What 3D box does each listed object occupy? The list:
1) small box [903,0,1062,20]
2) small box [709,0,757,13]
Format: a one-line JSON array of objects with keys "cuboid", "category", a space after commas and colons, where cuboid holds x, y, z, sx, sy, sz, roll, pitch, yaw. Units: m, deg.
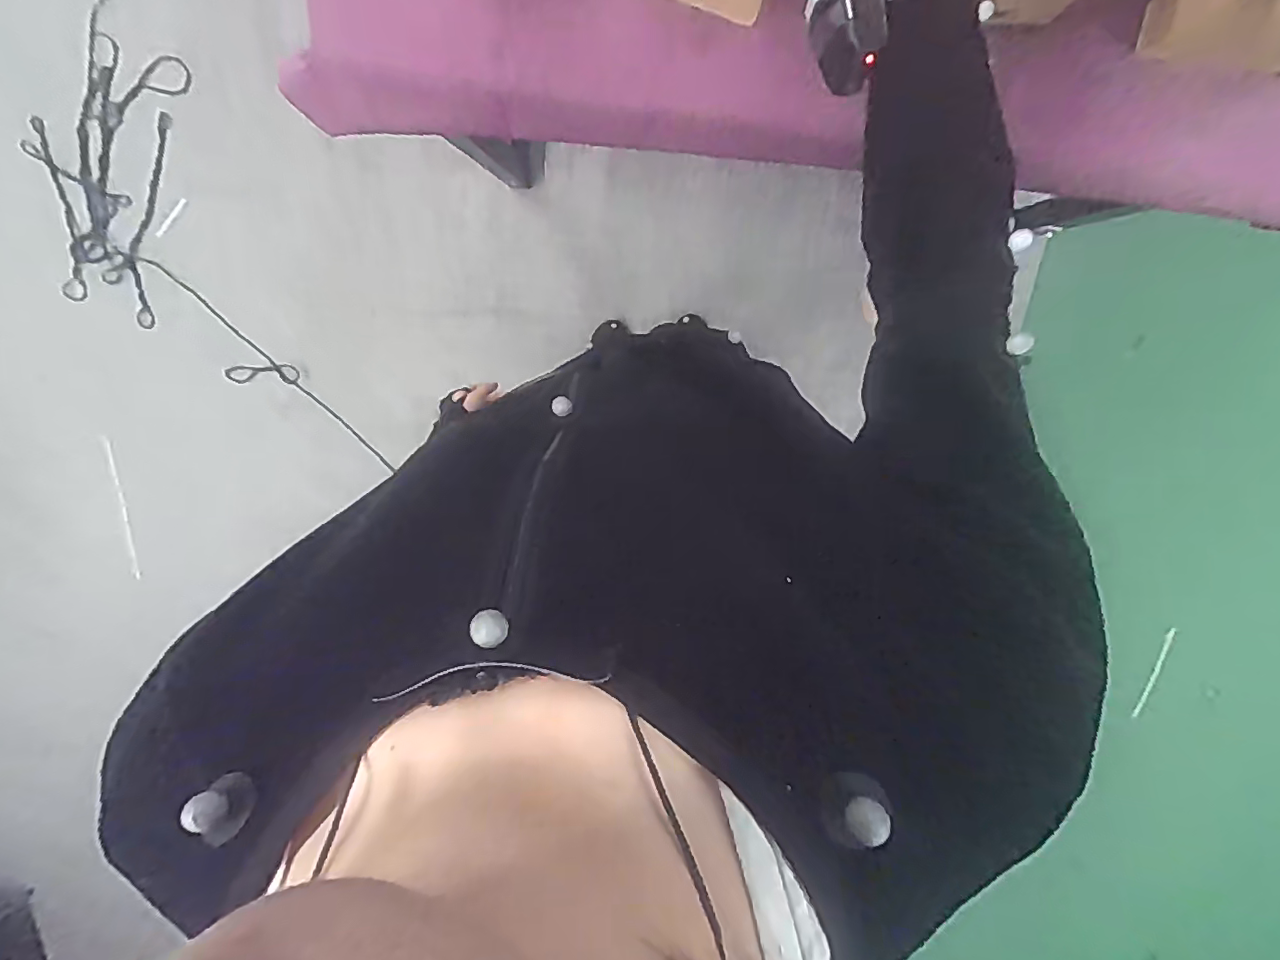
[{"cuboid": [0.359, -0.565, 0.488, 0.168, 0.176, 0.179, 3, 108, 3], "category": "small box"}, {"cuboid": [0.069, -0.594, 0.502, 0.168, 0.176, 0.179, 19, 107, -2], "category": "small box"}]
